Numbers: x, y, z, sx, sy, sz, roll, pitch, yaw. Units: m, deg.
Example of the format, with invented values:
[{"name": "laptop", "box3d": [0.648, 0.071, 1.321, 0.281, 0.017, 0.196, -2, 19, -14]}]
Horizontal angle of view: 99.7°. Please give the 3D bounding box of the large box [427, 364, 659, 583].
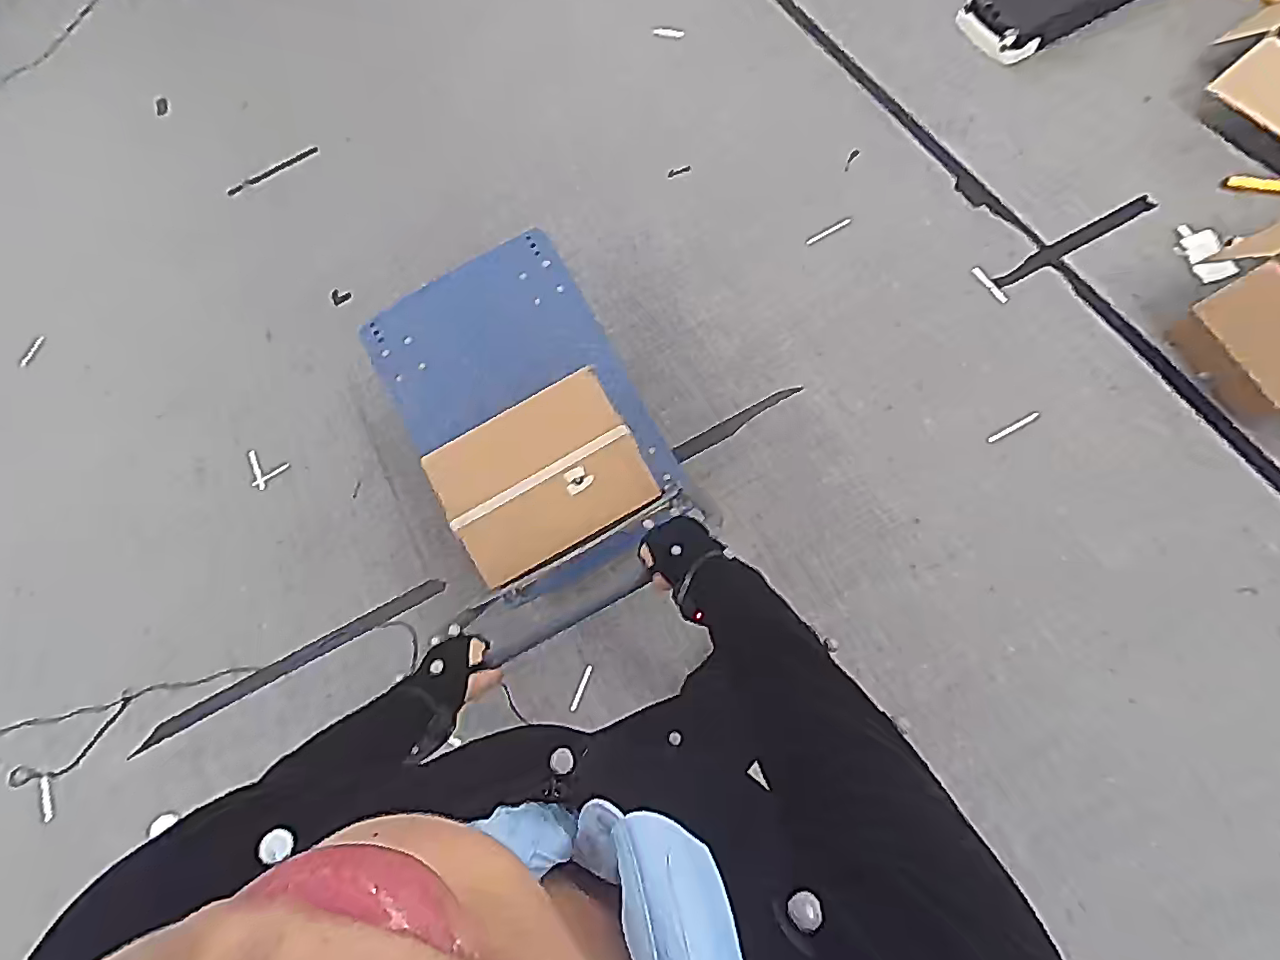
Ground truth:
[{"name": "large box", "box3d": [-0.204, -0.005, 1.273, 0.408, 0.320, 0.320, -30, 87, -2]}]
